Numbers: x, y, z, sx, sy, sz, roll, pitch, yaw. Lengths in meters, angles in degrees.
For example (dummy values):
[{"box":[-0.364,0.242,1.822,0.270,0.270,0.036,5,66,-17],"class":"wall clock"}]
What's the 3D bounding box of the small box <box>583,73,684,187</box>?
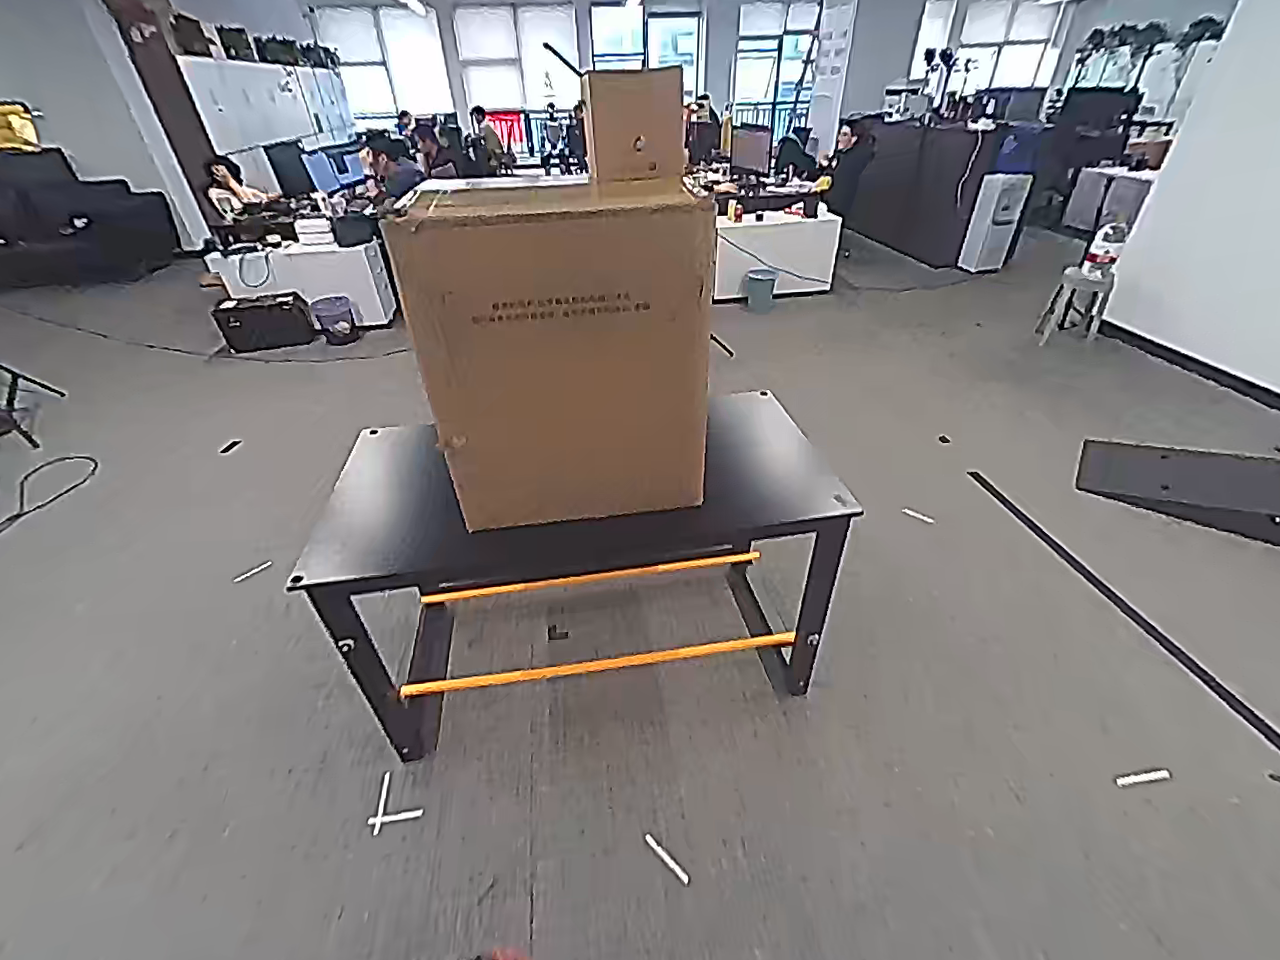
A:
[{"box":[-0.015,-0.661,1.030,0.168,0.176,0.179,-8,34,-6],"class":"small box"}]
